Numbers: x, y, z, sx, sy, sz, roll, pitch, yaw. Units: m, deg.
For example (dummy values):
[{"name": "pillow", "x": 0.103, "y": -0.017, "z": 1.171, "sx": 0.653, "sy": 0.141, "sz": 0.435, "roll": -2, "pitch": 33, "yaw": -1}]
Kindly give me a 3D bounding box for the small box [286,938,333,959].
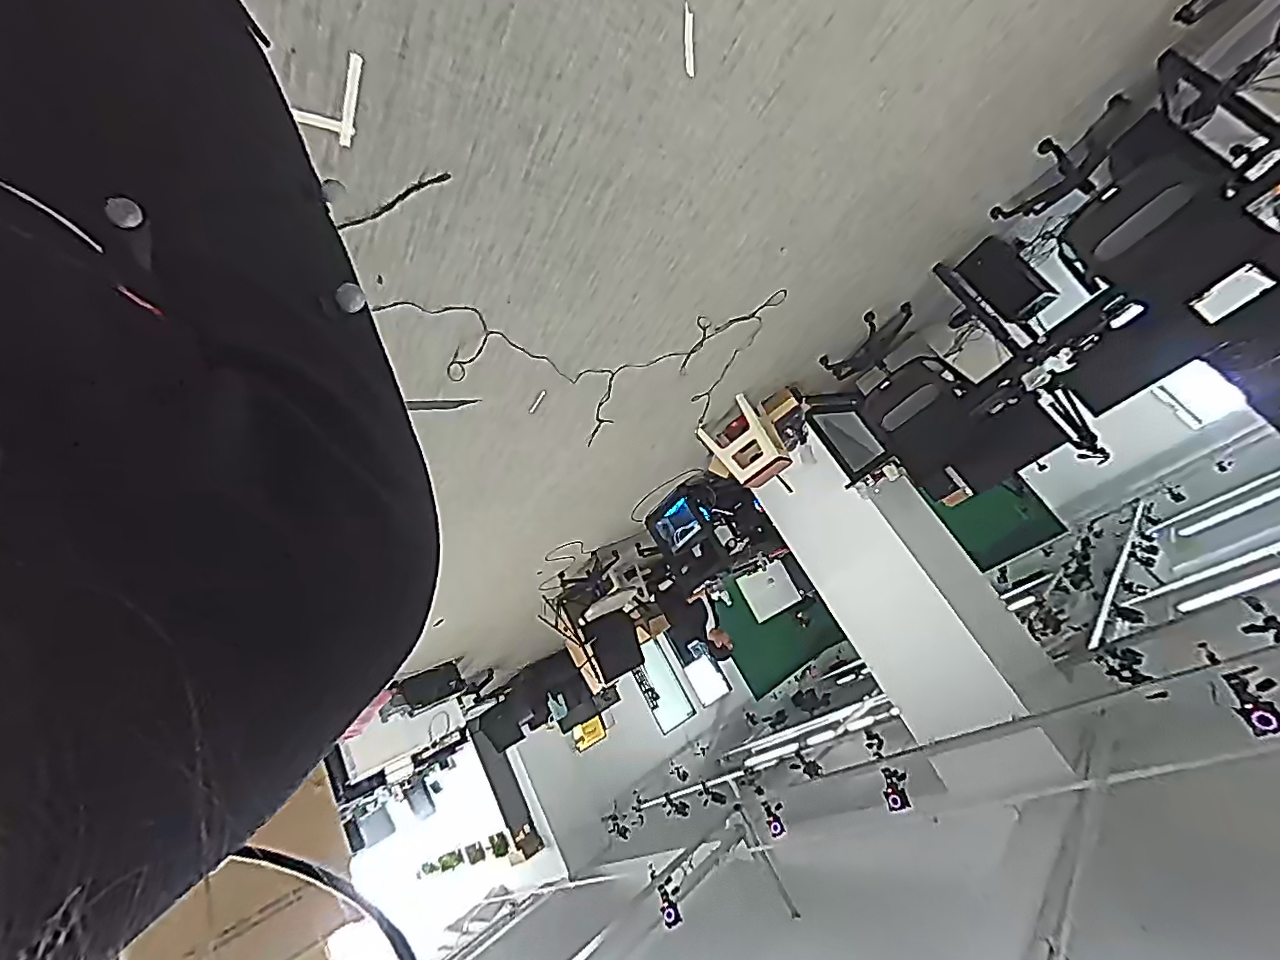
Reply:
[{"name": "small box", "x": -1.055, "y": 1.578, "z": 1.683, "sx": 0.179, "sy": 0.176, "sz": 0.168, "roll": -11, "pitch": 152, "yaw": -43}]
